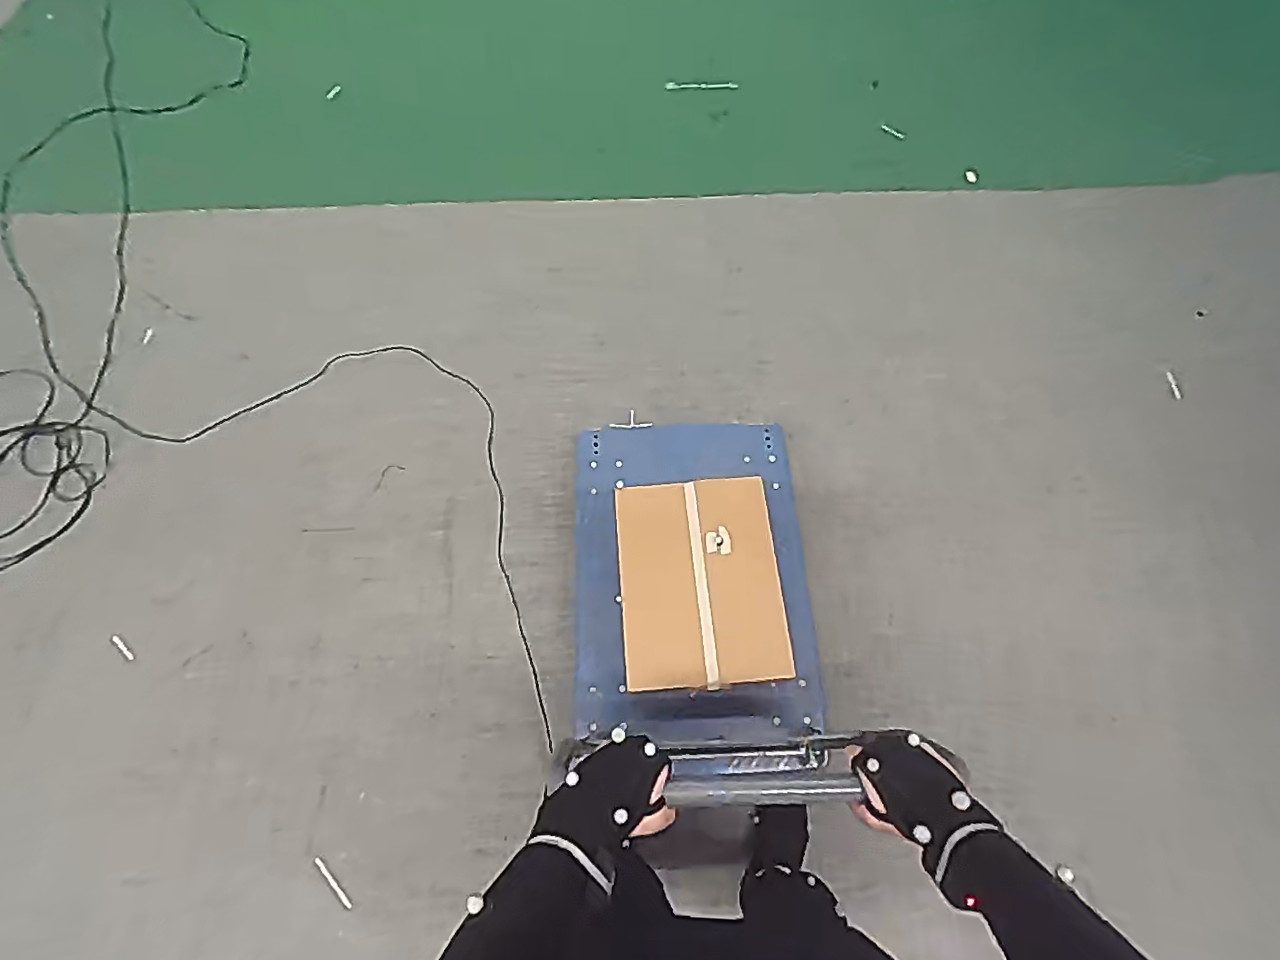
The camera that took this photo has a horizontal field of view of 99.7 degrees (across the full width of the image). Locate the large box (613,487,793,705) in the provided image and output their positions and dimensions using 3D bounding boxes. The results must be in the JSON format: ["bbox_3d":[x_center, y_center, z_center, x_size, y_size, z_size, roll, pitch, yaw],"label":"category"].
[{"bbox_3d":[0.118,0.270,1.206,0.320,0.320,0.408,-5,67,-1],"label":"large box"}]
